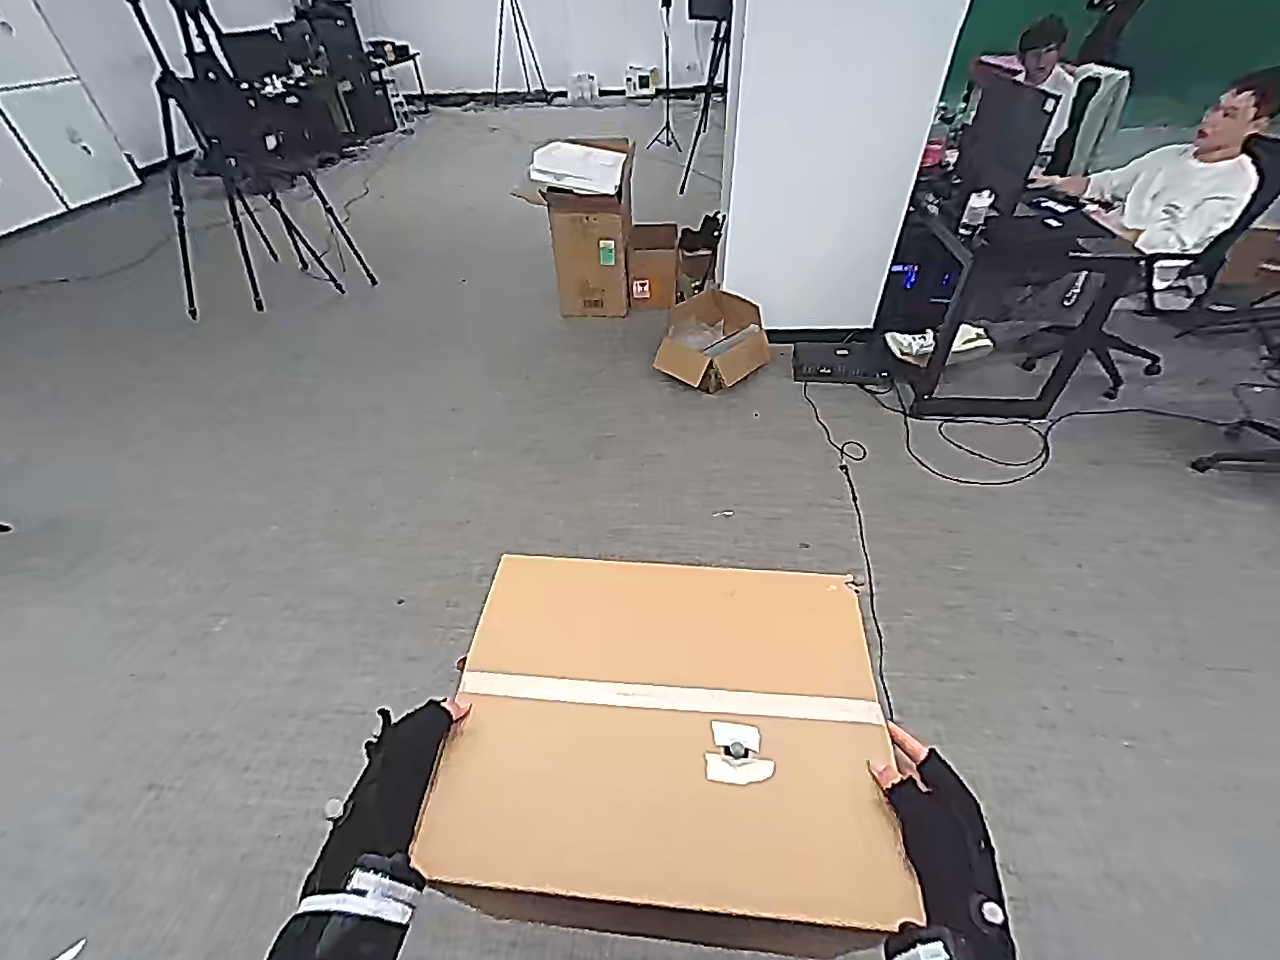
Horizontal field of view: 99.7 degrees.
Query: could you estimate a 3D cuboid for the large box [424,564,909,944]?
[{"bbox_3d":[0.028,0.323,0.643,0.408,0.320,0.320,3,47,4],"label":"large box"}]
